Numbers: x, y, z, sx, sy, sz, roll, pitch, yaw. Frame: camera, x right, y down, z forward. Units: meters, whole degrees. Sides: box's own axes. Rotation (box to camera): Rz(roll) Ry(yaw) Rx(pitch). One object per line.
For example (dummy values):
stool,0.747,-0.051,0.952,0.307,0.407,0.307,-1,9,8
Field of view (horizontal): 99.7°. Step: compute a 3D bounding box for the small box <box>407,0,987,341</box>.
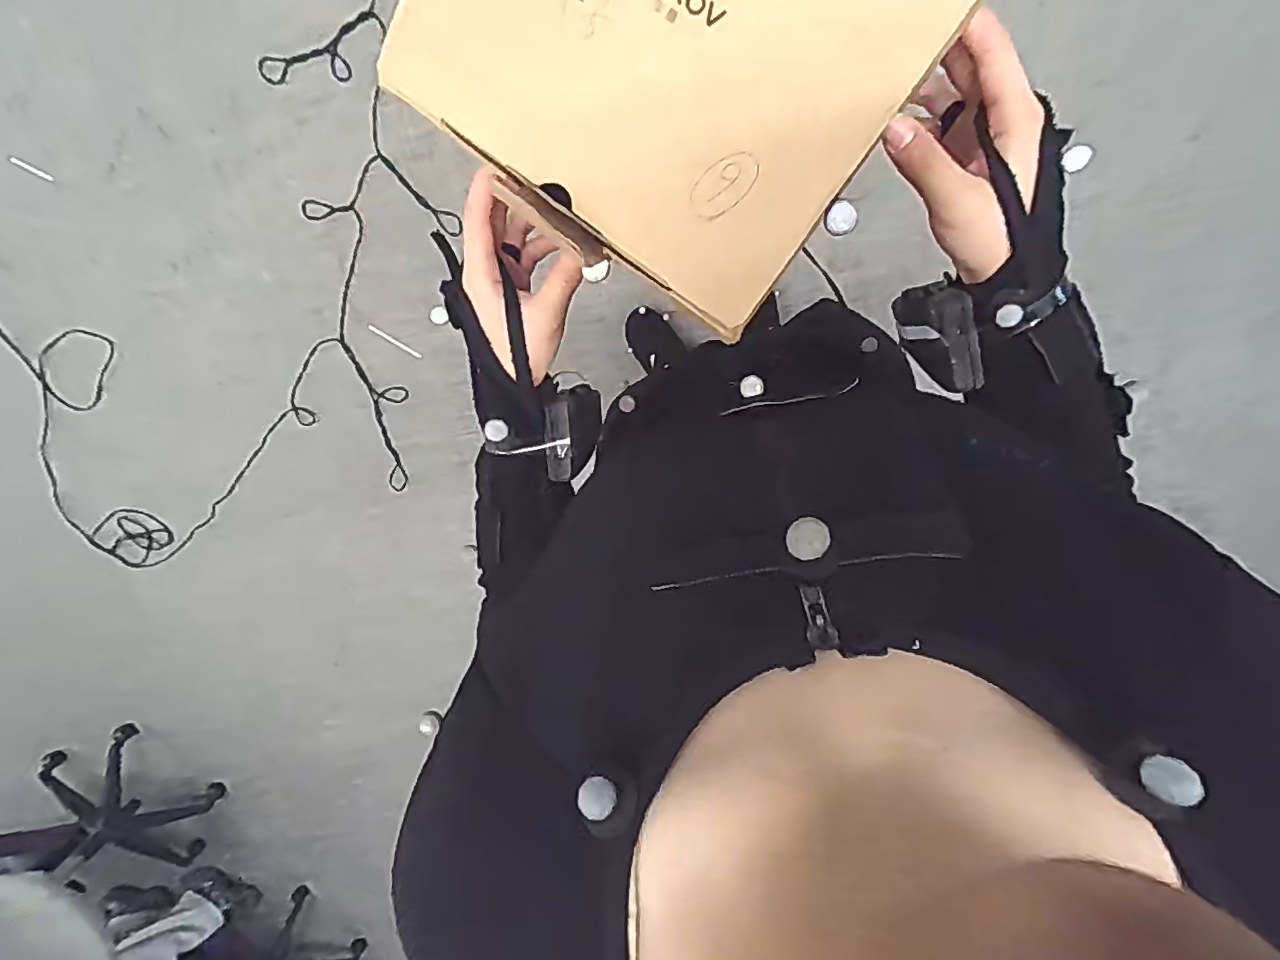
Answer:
small box,0.033,-0.186,0.264,0.168,0.176,0.179,36,107,-1
